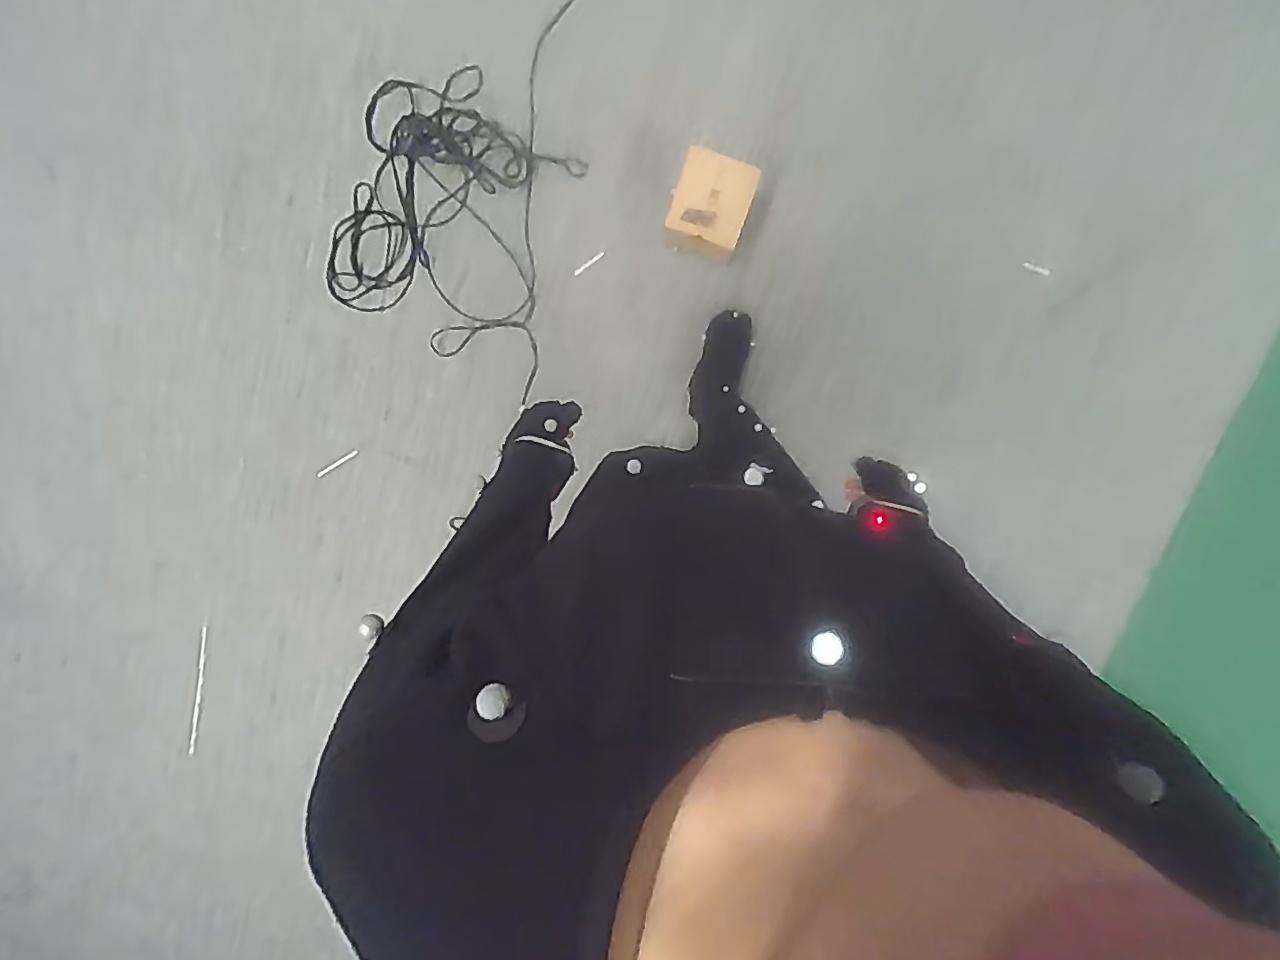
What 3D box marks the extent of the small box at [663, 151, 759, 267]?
[{"bbox_3d":[0.160,-0.618,1.259,0.168,0.176,0.179,19,101,-1],"label":"small box"}]
